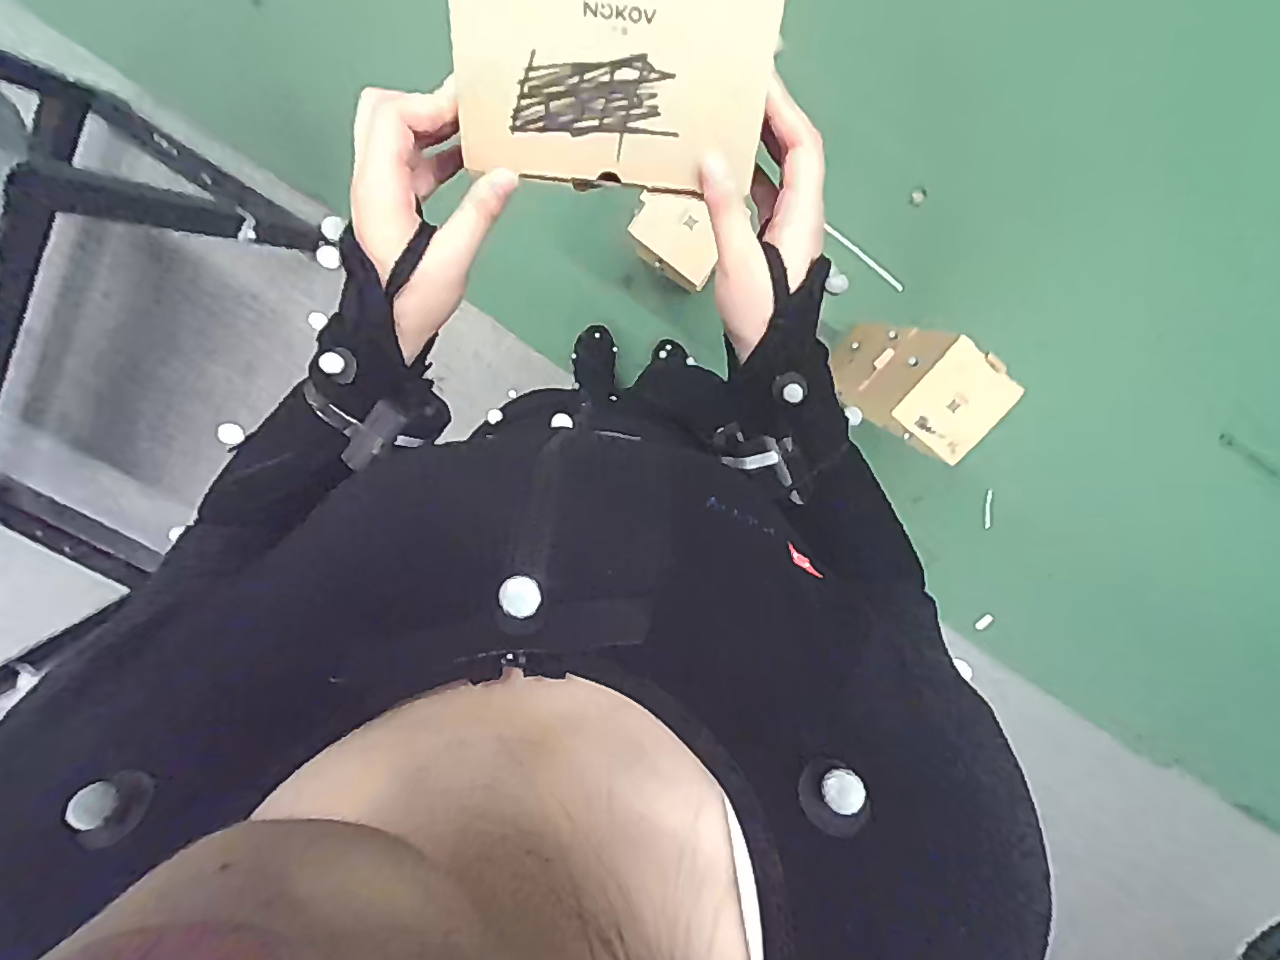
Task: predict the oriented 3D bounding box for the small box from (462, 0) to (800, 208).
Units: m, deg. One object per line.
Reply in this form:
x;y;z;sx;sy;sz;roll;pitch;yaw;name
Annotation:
-0.006;-0.280;0.322;0.168;0.176;0.179;2;127;-5;small box

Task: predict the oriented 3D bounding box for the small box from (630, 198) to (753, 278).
0.096;-0.522;1.085;0.179;0.176;0.168;34;106;-11;small box

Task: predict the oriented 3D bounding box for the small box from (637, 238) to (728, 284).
0.108;-0.568;1.242;0.179;0.176;0.168;32;107;-10;small box

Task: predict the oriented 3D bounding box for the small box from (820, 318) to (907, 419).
0.571;-0.282;1.341;0.168;0.176;0.179;40;104;-13;small box

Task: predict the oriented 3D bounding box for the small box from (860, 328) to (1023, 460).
0.560;-0.172;1.031;0.168;0.176;0.179;36;104;-13;small box
